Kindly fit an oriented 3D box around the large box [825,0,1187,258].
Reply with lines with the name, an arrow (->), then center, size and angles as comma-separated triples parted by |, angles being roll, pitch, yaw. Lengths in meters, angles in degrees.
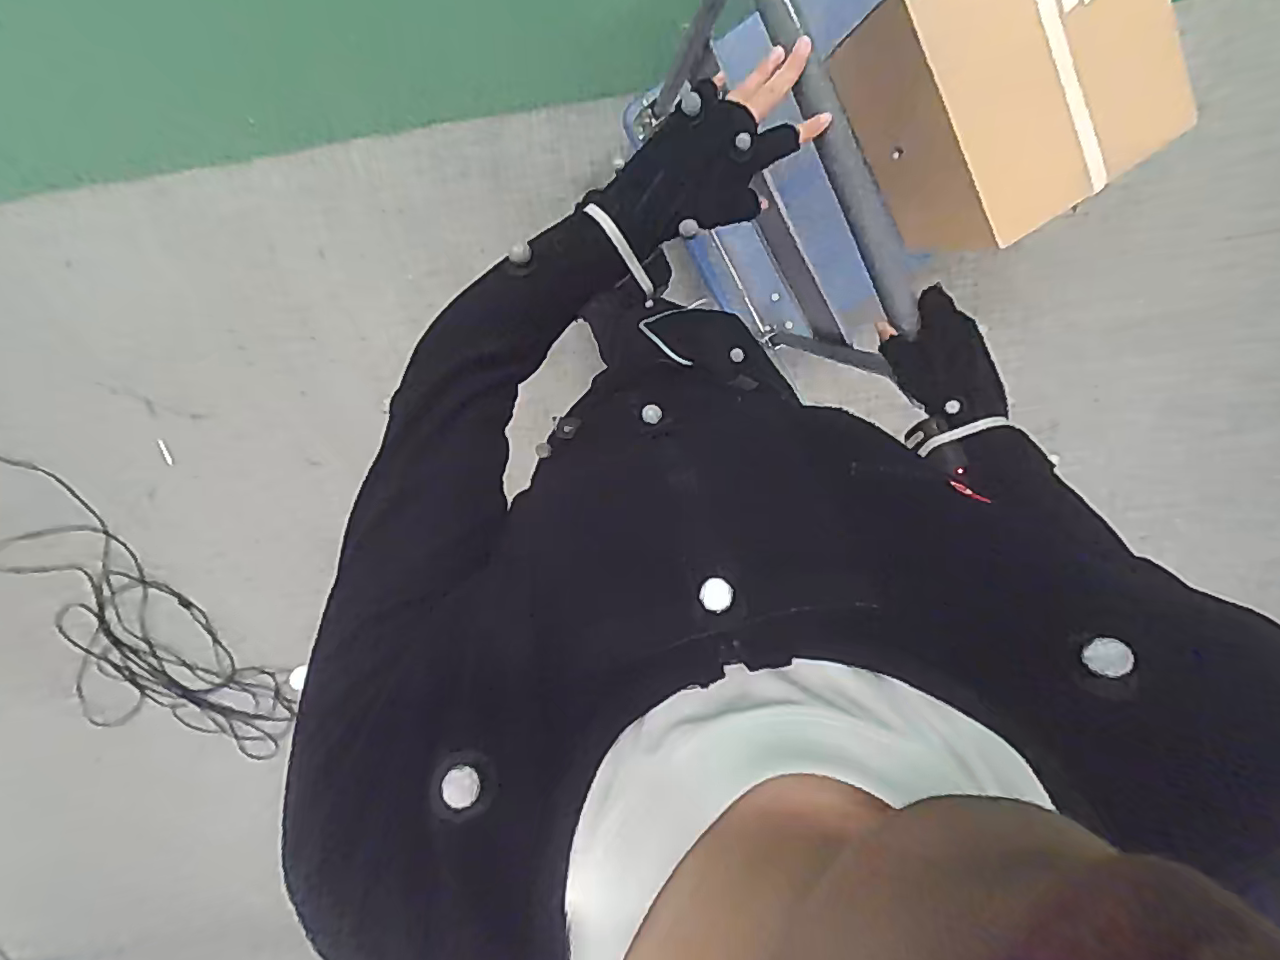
large box -> 0.579, -0.643, 0.915 | 0.320, 0.320, 0.408 | -32, 108, 11
